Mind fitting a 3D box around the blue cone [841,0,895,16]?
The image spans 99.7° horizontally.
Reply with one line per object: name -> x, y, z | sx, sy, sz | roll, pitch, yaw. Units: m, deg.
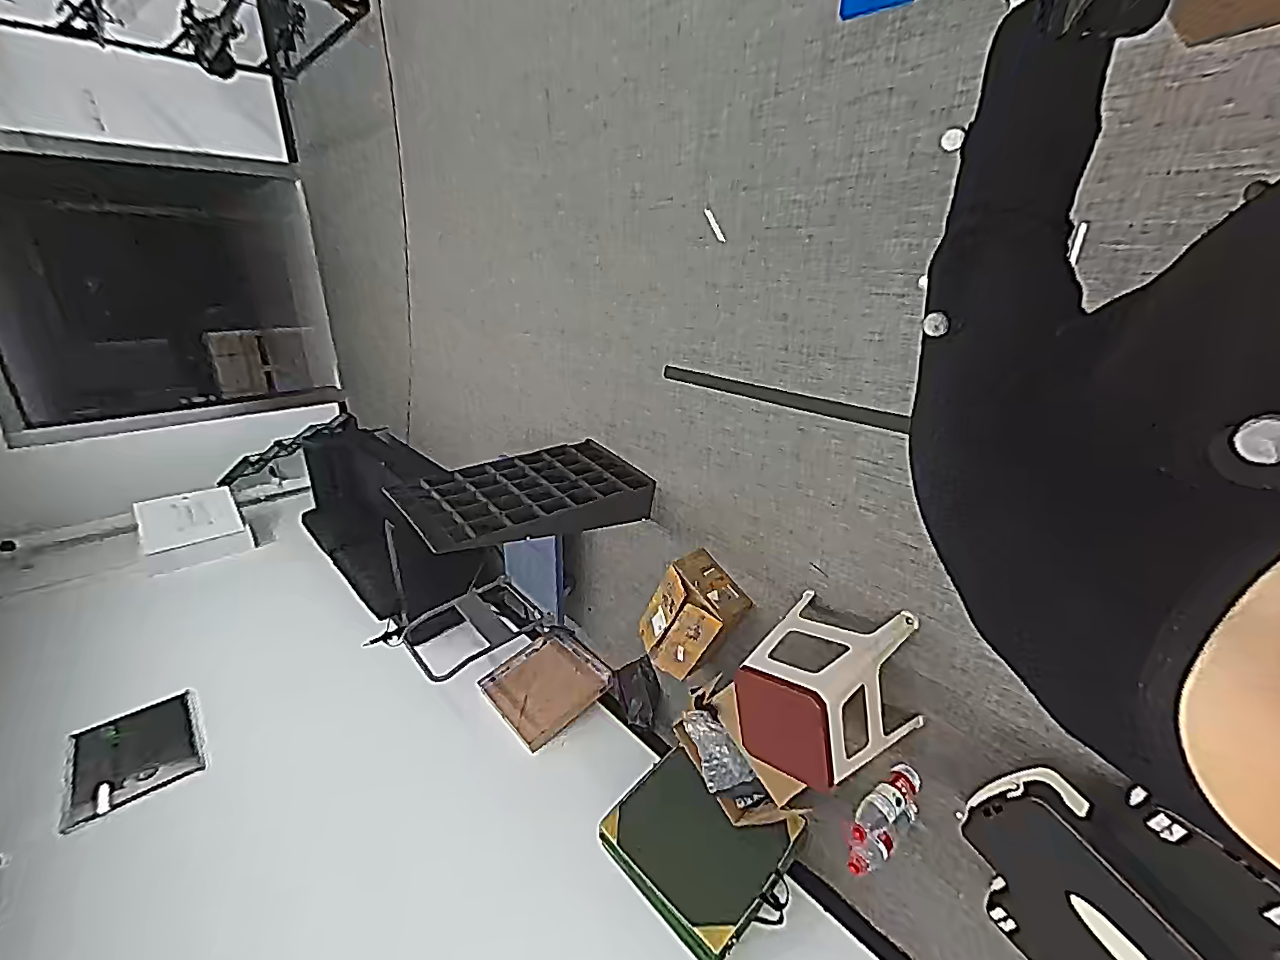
blue cone -> 0.443, -1.188, 1.169 | 0.192, 0.380, 0.193 | 29, 124, 42

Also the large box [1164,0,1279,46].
large box -> 0.521, -0.466, 0.228 | 0.408, 0.320, 0.320 | 14, 120, 44
